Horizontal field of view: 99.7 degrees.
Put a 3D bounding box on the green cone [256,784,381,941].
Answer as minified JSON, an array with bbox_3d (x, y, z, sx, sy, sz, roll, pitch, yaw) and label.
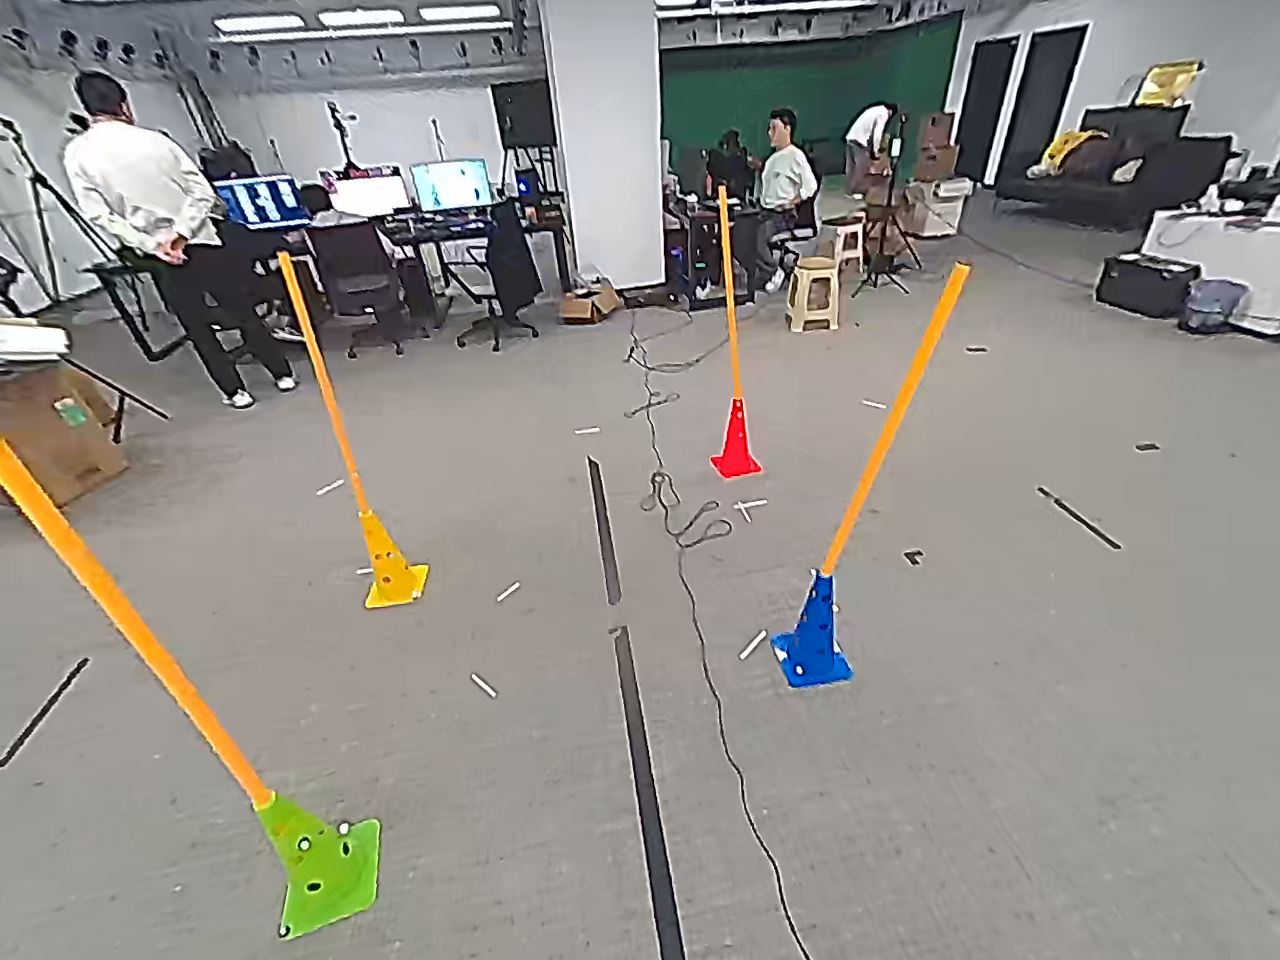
[{"bbox_3d":[-0.728,0.783,1.173,0.200,0.368,0.202,-15,33,-14],"label":"green cone"}]

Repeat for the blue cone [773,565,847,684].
[{"bbox_3d":[0.516,0.410,1.593,0.193,0.380,0.192,-7,33,-3],"label":"blue cone"}]

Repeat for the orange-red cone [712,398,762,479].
[{"bbox_3d":[0.450,-0.210,2.512,0.199,0.360,0.198,-13,34,-9],"label":"orange-red cone"}]
